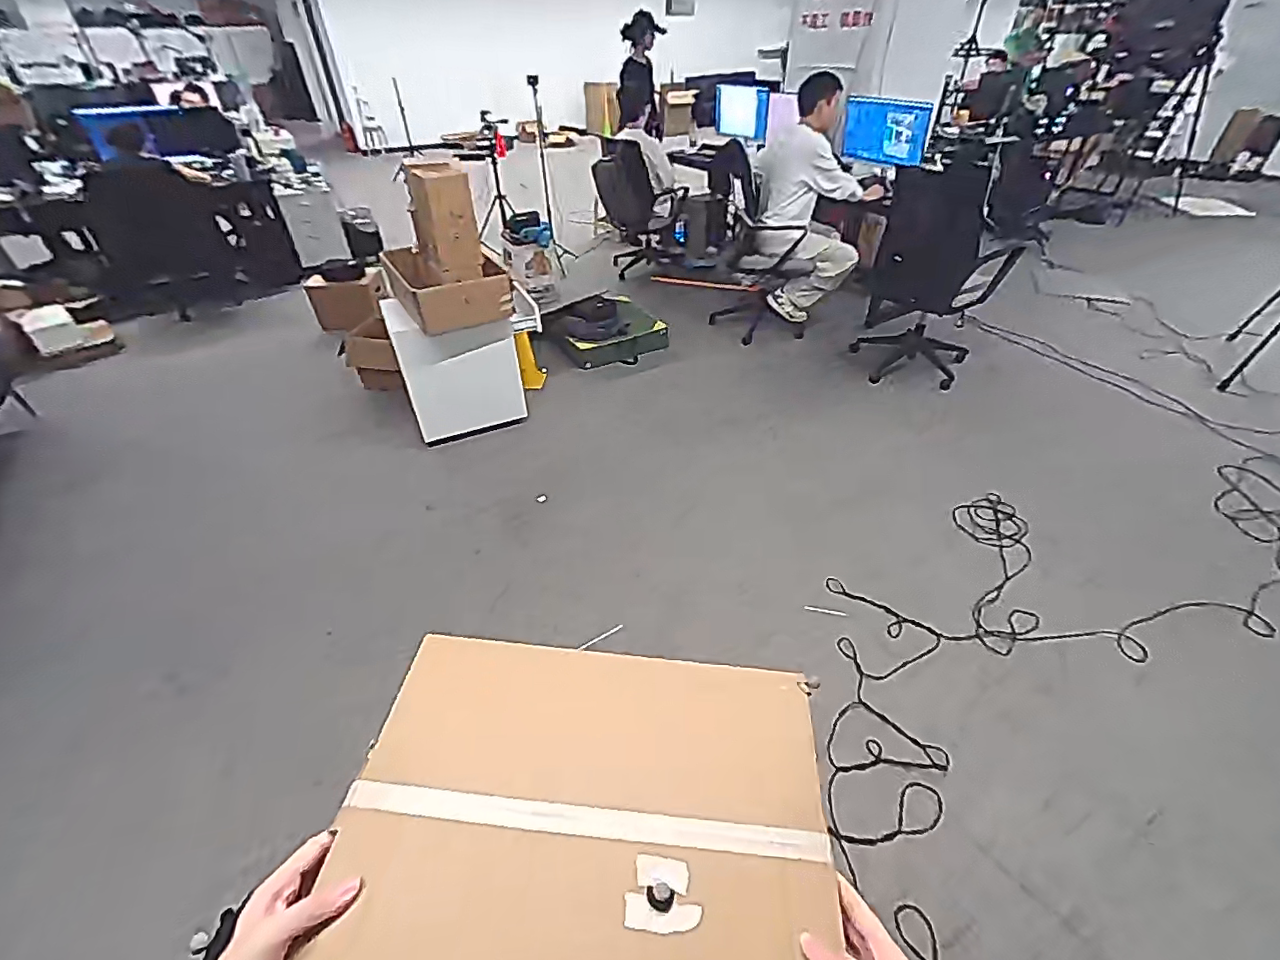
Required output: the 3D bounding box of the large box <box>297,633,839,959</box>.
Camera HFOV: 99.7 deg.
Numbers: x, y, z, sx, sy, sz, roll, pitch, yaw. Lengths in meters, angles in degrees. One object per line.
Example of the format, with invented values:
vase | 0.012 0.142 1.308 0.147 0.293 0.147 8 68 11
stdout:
large box | -0.049 0.396 0.570 0.408 0.320 0.320 6 43 2
